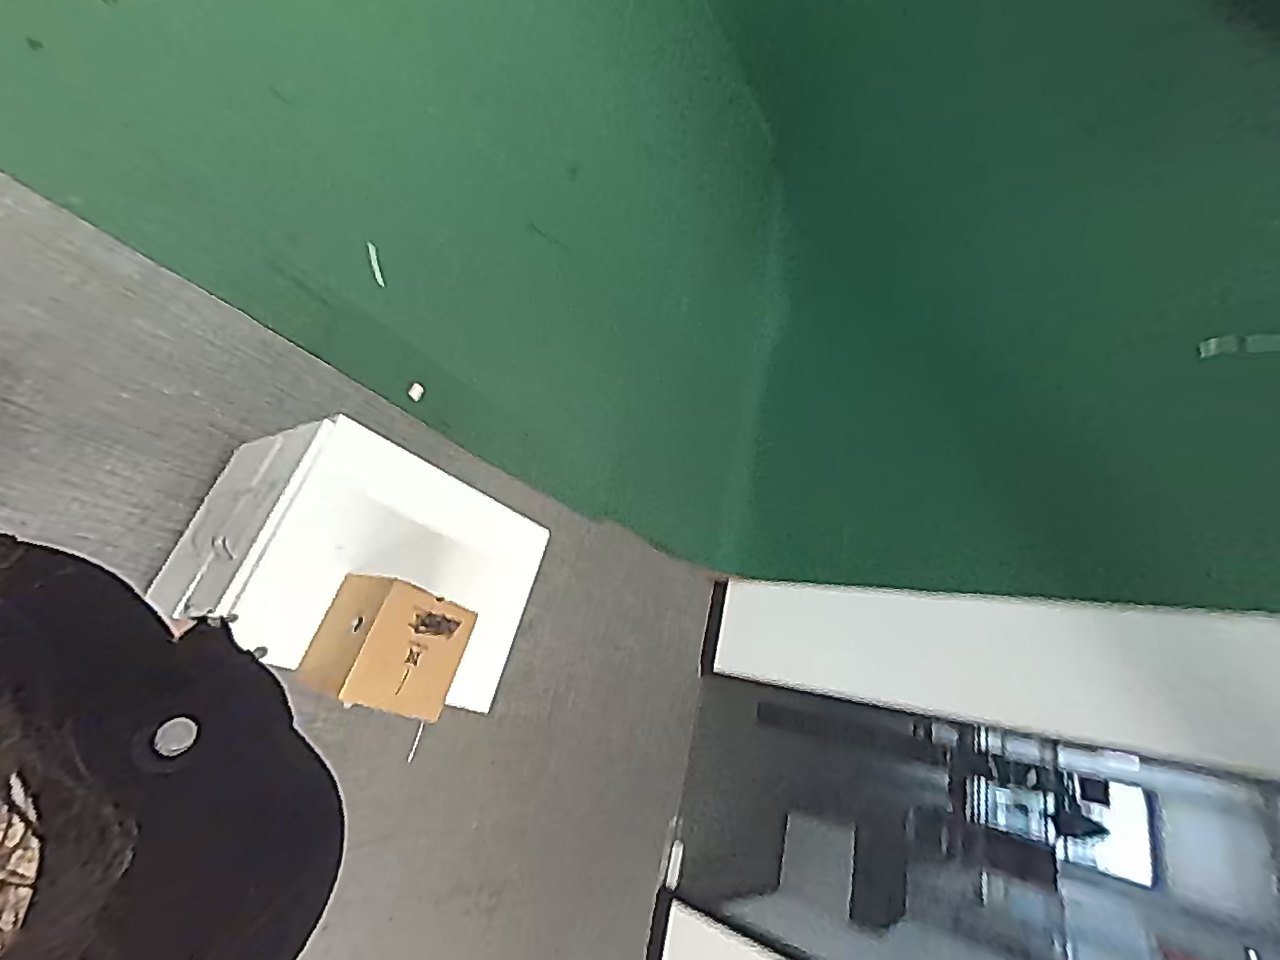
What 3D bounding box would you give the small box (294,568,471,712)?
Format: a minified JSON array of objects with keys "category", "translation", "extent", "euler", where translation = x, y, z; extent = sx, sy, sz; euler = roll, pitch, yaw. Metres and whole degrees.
[{"category":"small box","translation":[-0.416,0.251,0.873],"extent":[0.168,0.176,0.179],"euler":[42,56,-42]}]
